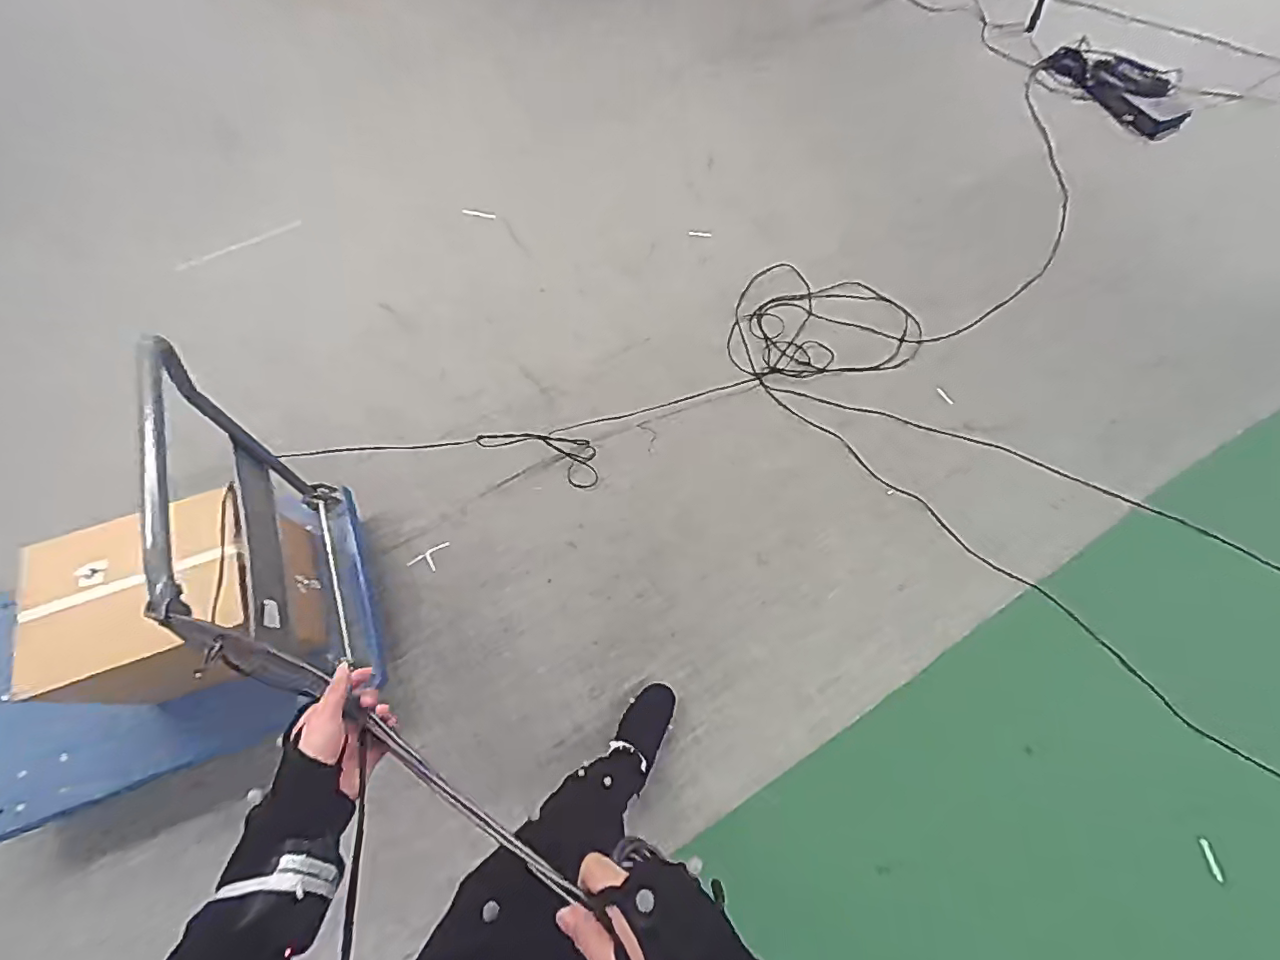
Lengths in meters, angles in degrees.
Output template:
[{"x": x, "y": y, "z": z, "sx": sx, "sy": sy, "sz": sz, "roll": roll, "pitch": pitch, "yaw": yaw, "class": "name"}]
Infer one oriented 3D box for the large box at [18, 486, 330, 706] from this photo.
[{"x": -0.976, "y": 0.263, "z": 1.182, "sx": 0.408, "sy": 0.320, "sz": 0.320, "roll": -19, "pitch": 68, "yaw": -8, "class": "large box"}]
